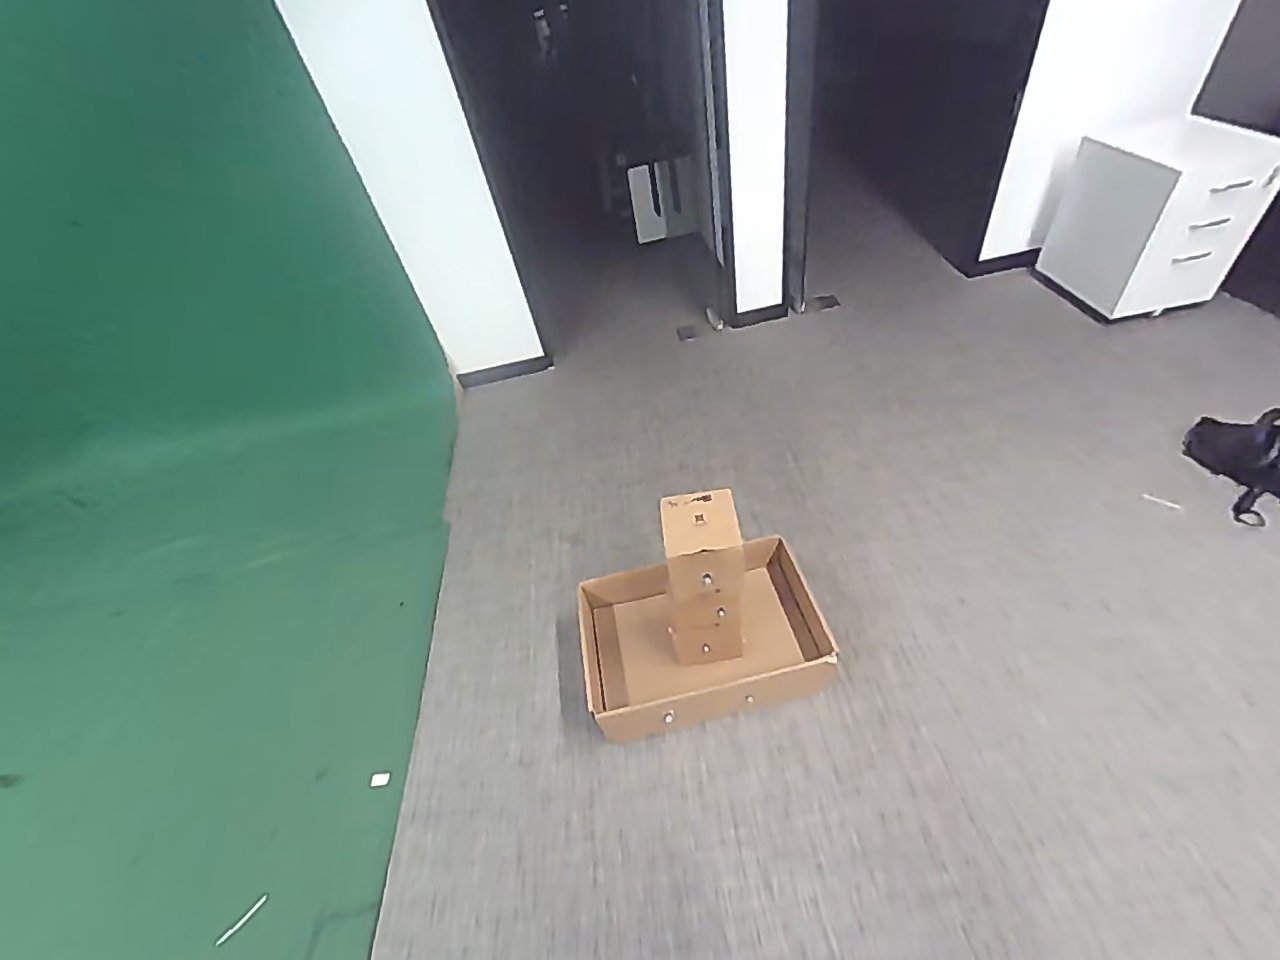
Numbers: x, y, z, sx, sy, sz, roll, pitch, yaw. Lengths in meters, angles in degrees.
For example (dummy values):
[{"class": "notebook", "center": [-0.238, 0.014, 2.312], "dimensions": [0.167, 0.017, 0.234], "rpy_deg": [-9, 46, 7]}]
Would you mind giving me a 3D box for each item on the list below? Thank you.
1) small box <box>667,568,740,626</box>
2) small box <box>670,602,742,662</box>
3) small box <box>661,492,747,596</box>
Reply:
[{"class": "small box", "center": [0.159, 0.255, 1.371], "dimensions": [0.168, 0.176, 0.179], "rpy_deg": [-7, 43, 5]}, {"class": "small box", "center": [0.182, 0.383, 1.493], "dimensions": [0.179, 0.176, 0.168], "rpy_deg": [-11, 43, 6]}, {"class": "small box", "center": [0.150, 0.157, 1.267], "dimensions": [0.168, 0.176, 0.179], "rpy_deg": [-11, 44, 7]}]
